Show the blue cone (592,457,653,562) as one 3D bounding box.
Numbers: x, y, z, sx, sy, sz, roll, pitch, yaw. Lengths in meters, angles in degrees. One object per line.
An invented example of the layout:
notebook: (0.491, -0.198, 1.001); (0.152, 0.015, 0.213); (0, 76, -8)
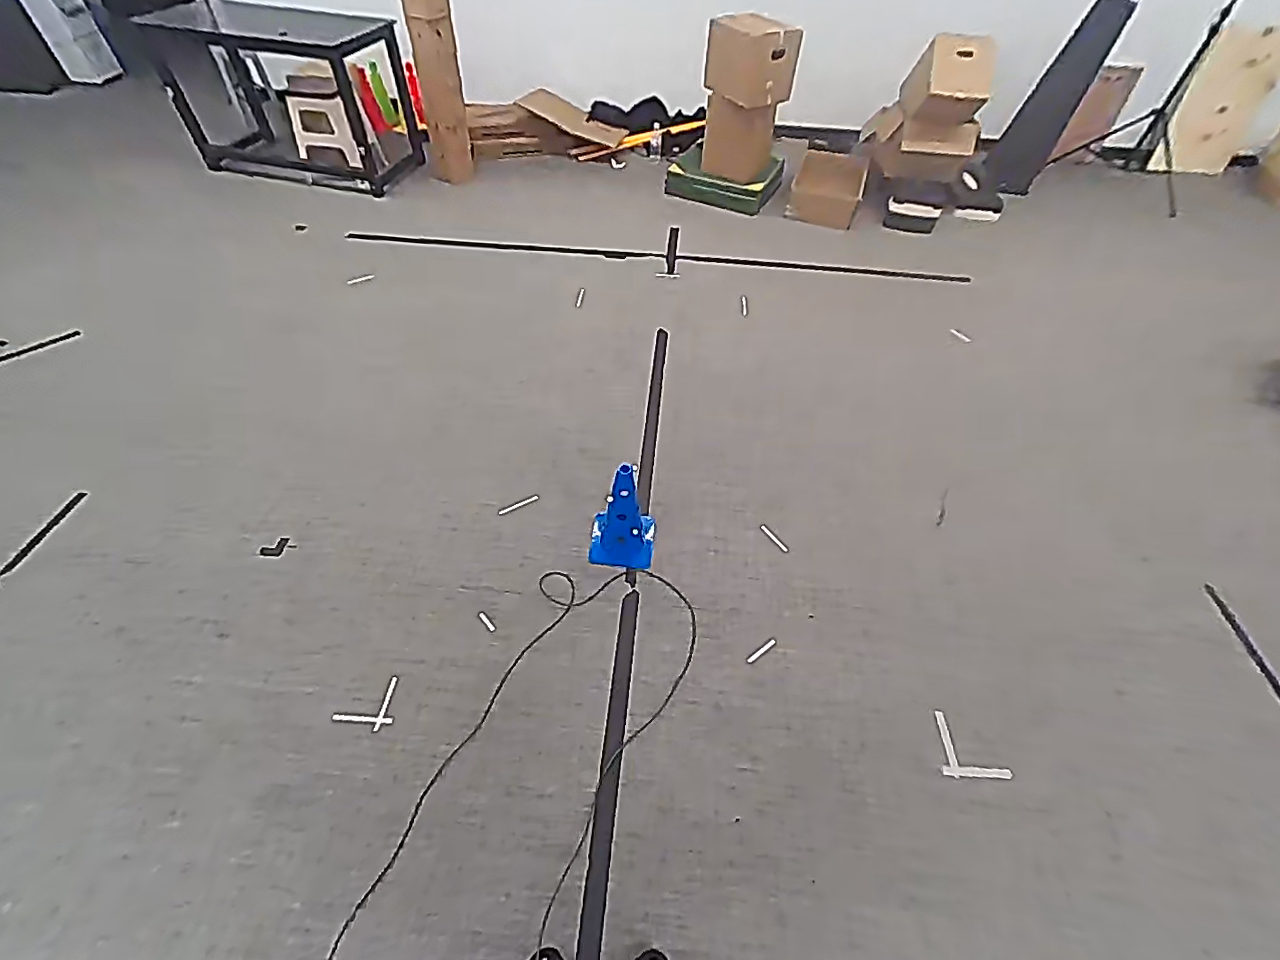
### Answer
blue cone: (-0.050, 0.075, 1.604); (0.193, 0.380, 0.192); (4, 51, 1)
